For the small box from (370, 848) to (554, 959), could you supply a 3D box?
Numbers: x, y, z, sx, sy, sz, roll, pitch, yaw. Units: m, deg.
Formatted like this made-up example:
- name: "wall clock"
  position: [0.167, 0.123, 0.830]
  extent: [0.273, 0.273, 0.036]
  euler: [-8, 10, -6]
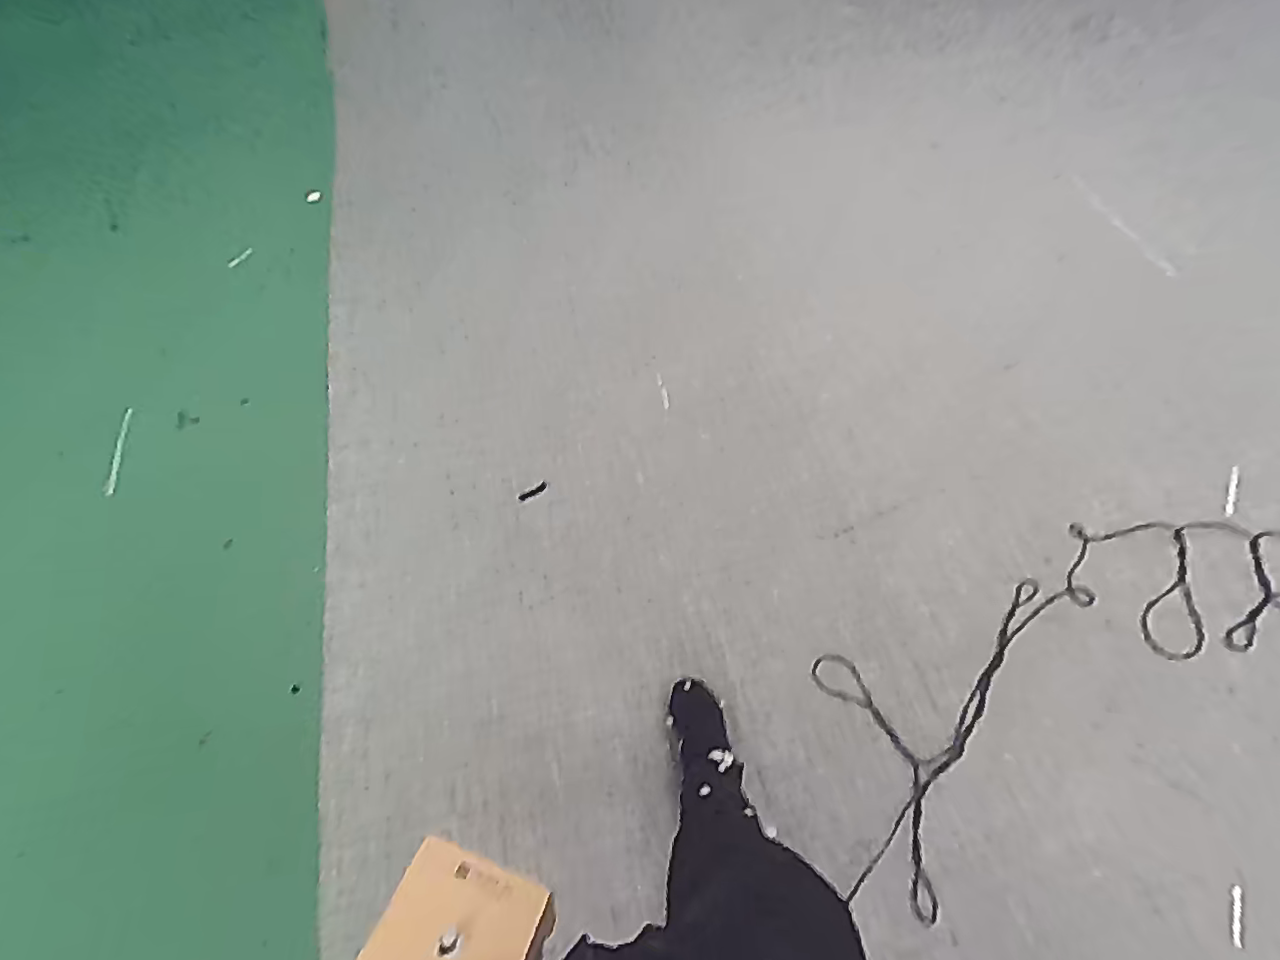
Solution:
- name: "small box"
  position: [-0.208, 0.565, 0.626]
  extent: [0.168, 0.179, 0.176]
  euler: [16, 40, 11]
